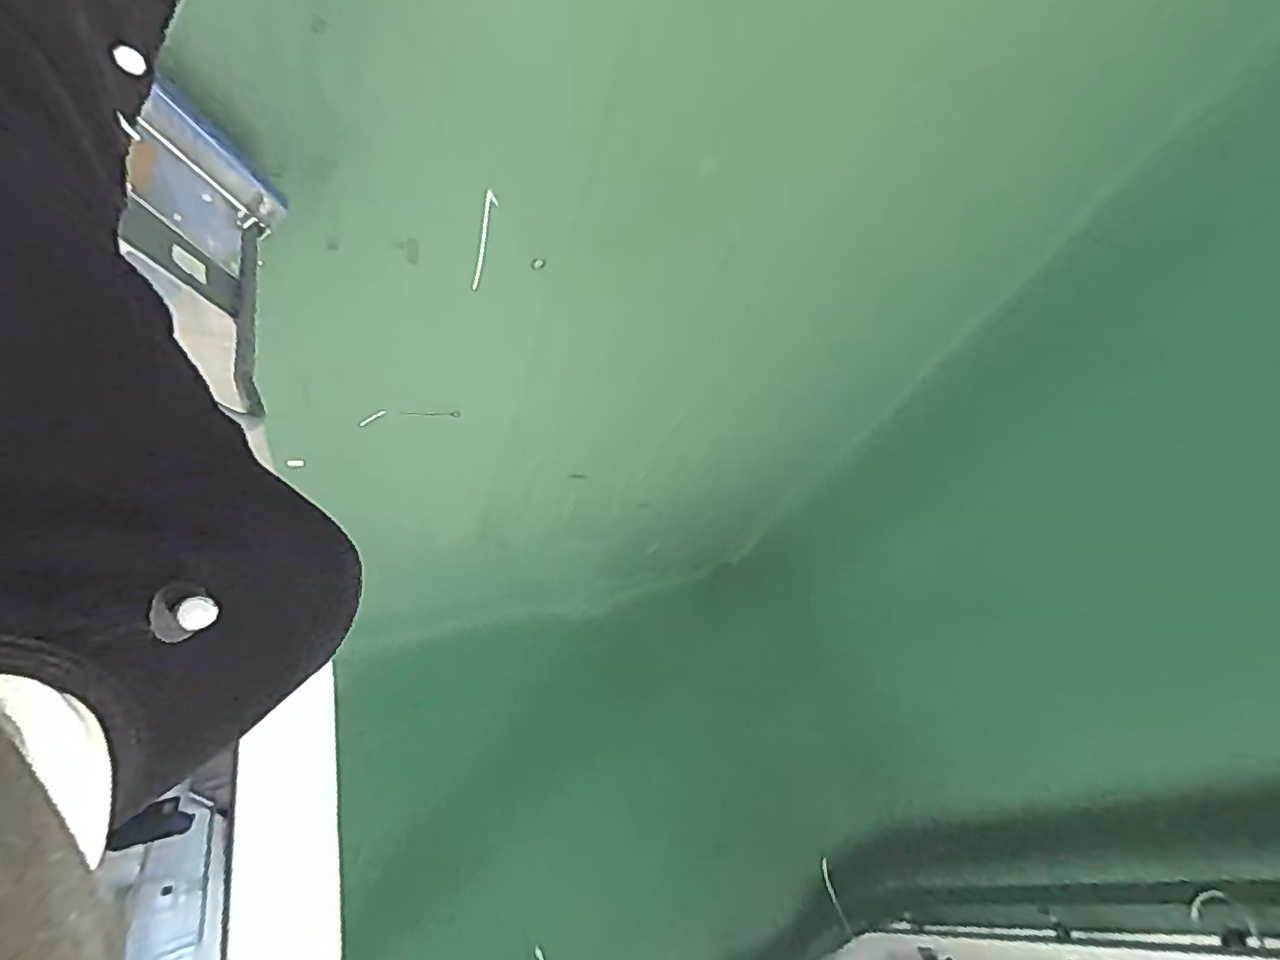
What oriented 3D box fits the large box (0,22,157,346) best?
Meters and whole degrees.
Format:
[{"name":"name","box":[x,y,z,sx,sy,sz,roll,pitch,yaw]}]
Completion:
[{"name":"large box","box":[-1.094,-0.478,0.864,0.408,0.320,0.320,-26,149,10]}]
